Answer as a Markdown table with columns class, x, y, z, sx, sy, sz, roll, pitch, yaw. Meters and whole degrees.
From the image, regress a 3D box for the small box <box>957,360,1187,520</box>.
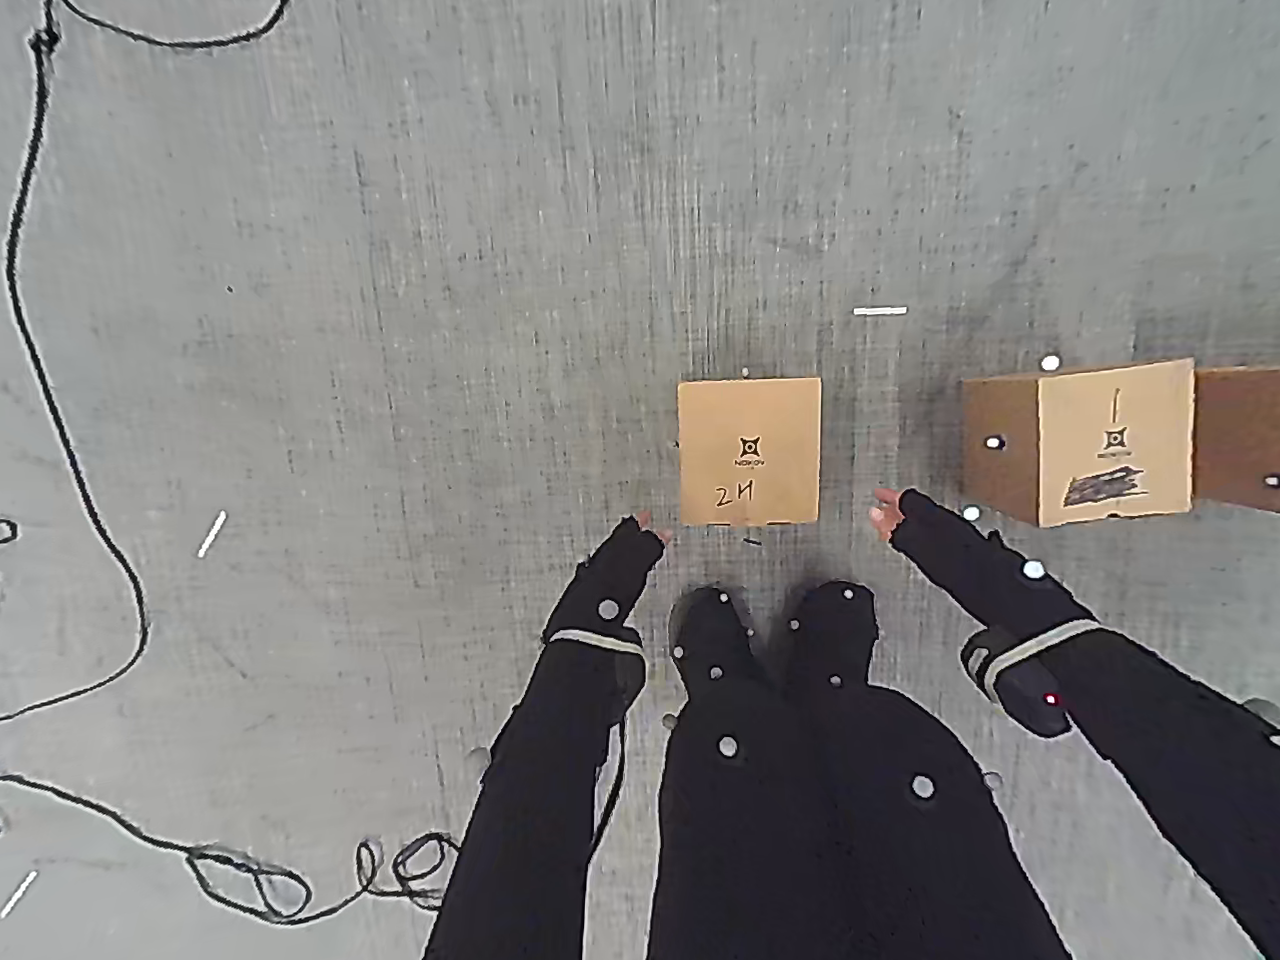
| class | x | y | z | sx | sy | sz | roll | pitch | yaw |
| --- | --- | --- | --- | --- | --- | --- | --- | --- | --- |
| small box | 0.534 | -0.059 | 0.697 | 0.168 | 0.176 | 0.179 | -5 | 101 | 4 |

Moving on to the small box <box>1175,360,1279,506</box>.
| class | x | y | z | sx | sy | sz | roll | pitch | yaw |
| --- | --- | --- | --- | --- | --- | --- | --- | --- | --- |
| small box | 0.828 | -0.063 | 0.676 | 0.168 | 0.176 | 0.179 | -2 | 100 | 5 |

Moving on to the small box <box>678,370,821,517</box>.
| class | x | y | z | sx | sy | sz | roll | pitch | yaw |
| --- | --- | --- | --- | --- | --- | --- | --- | --- | --- |
| small box | 0.135 | -0.053 | 0.721 | 0.168 | 0.176 | 0.179 | -1 | 100 | 5 |
